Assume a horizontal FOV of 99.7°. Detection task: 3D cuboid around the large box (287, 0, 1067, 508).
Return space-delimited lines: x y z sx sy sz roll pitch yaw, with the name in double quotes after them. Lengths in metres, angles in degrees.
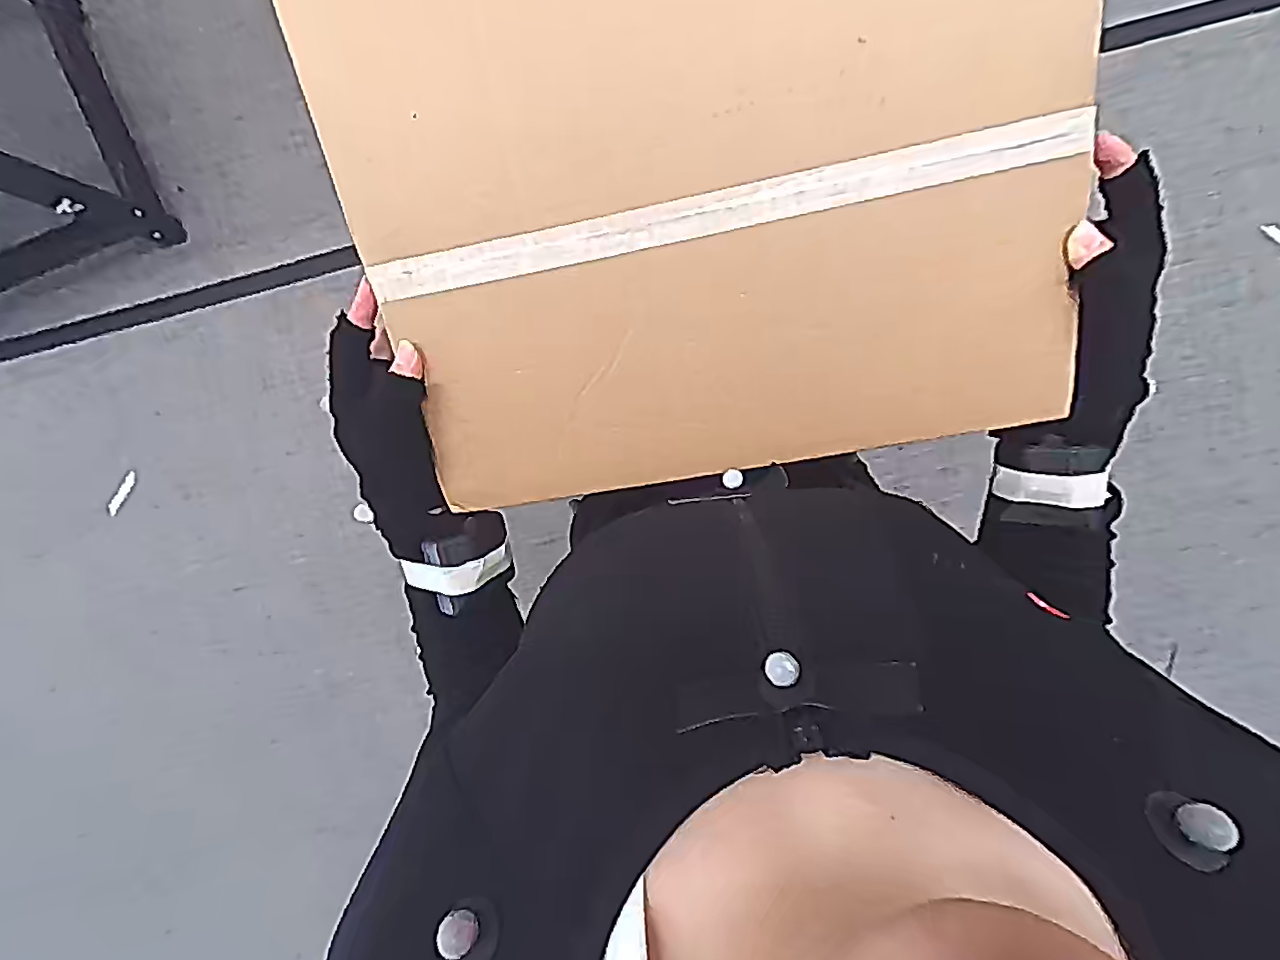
0.040 -0.205 0.455 0.408 0.320 0.320 -9 110 6 "large box"
